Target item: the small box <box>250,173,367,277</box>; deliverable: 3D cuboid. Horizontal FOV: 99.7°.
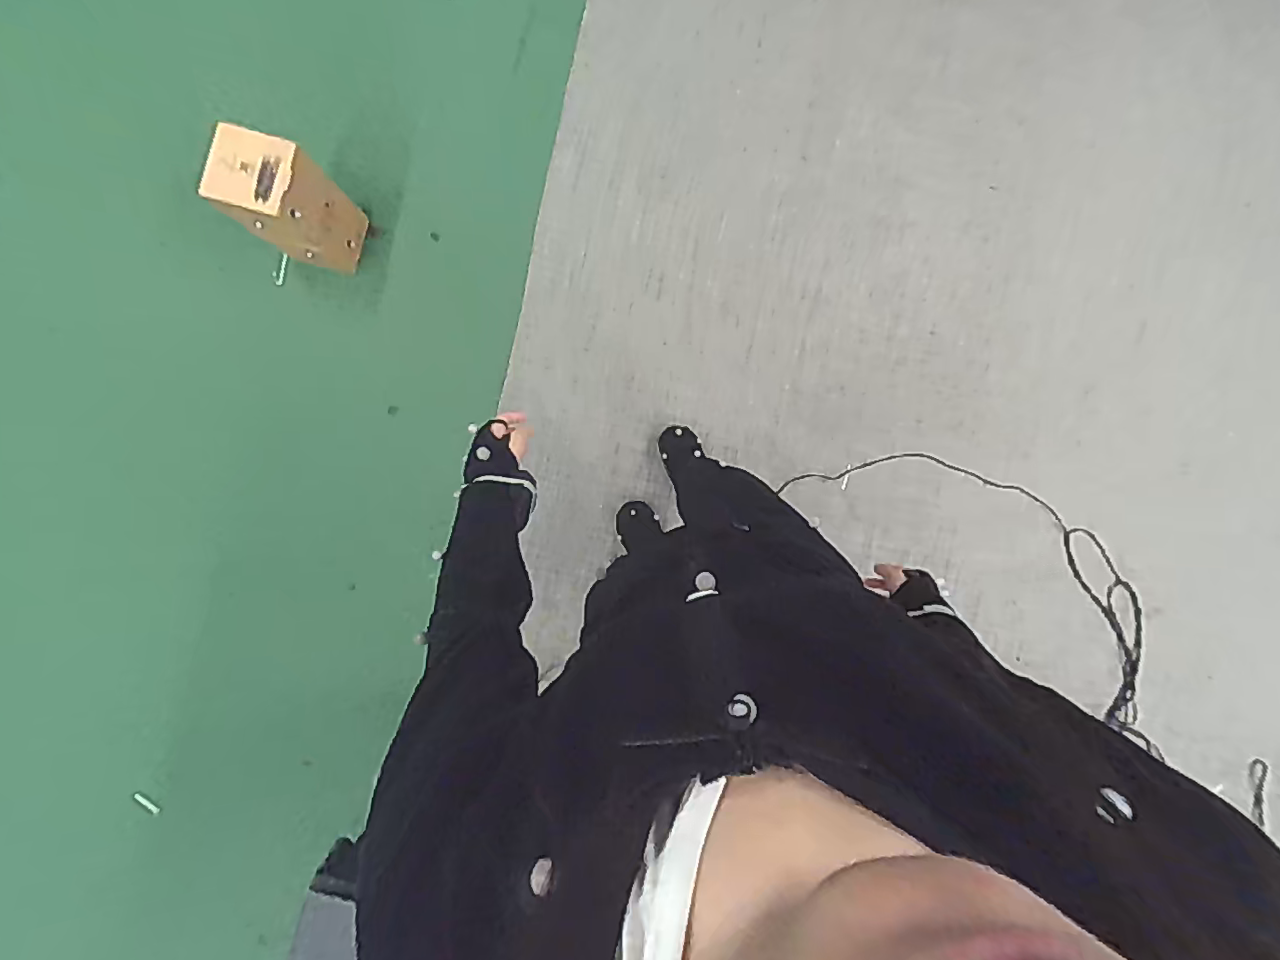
[{"bbox_3d":[-0.852,-0.652,1.404,0.179,0.176,0.168,15,89,-2],"label":"small box"}]
